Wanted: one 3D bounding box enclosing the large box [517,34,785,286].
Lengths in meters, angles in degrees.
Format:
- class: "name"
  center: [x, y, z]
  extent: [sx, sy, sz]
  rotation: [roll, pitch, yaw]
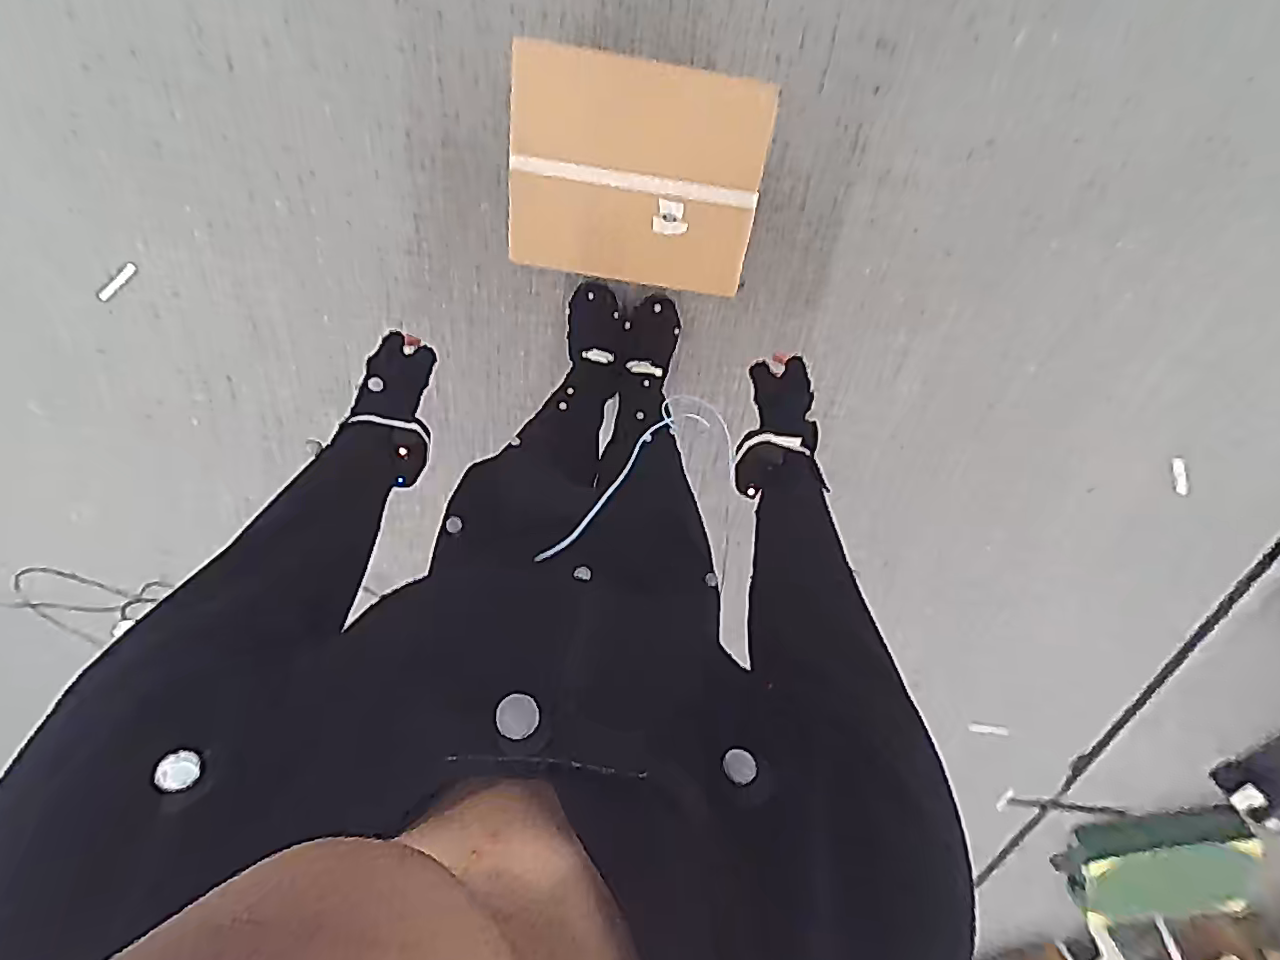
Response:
- class: "large box"
  center: [0.002, -0.572, 0.999]
  extent: [0.408, 0.320, 0.320]
  rotation: [8, 122, -3]
